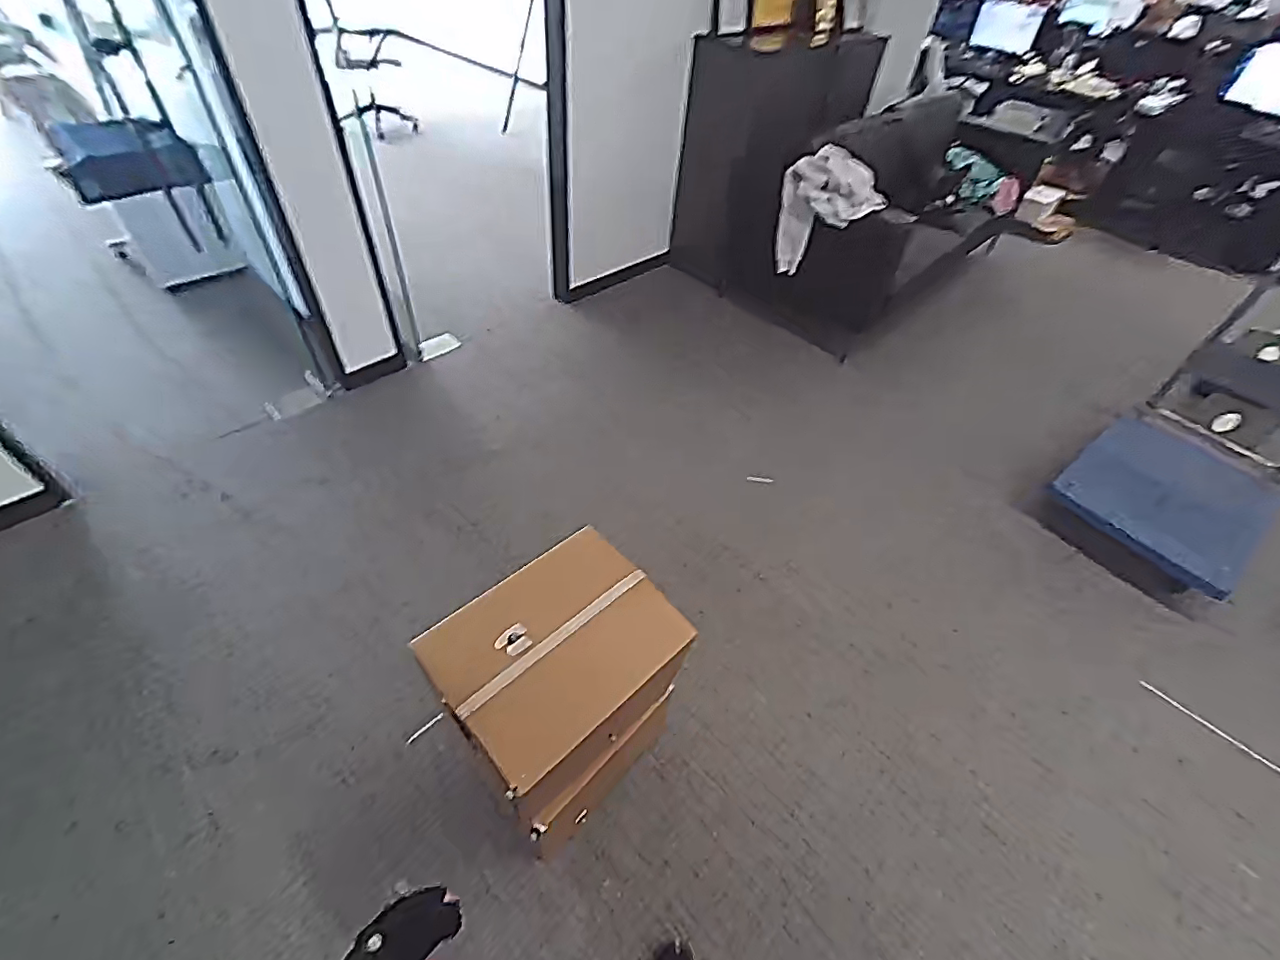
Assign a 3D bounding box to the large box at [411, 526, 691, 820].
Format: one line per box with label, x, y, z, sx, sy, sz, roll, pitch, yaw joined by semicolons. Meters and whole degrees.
large box;-0.166;0.372;1.069;0.408;0.320;0.320;-33;63;-31
